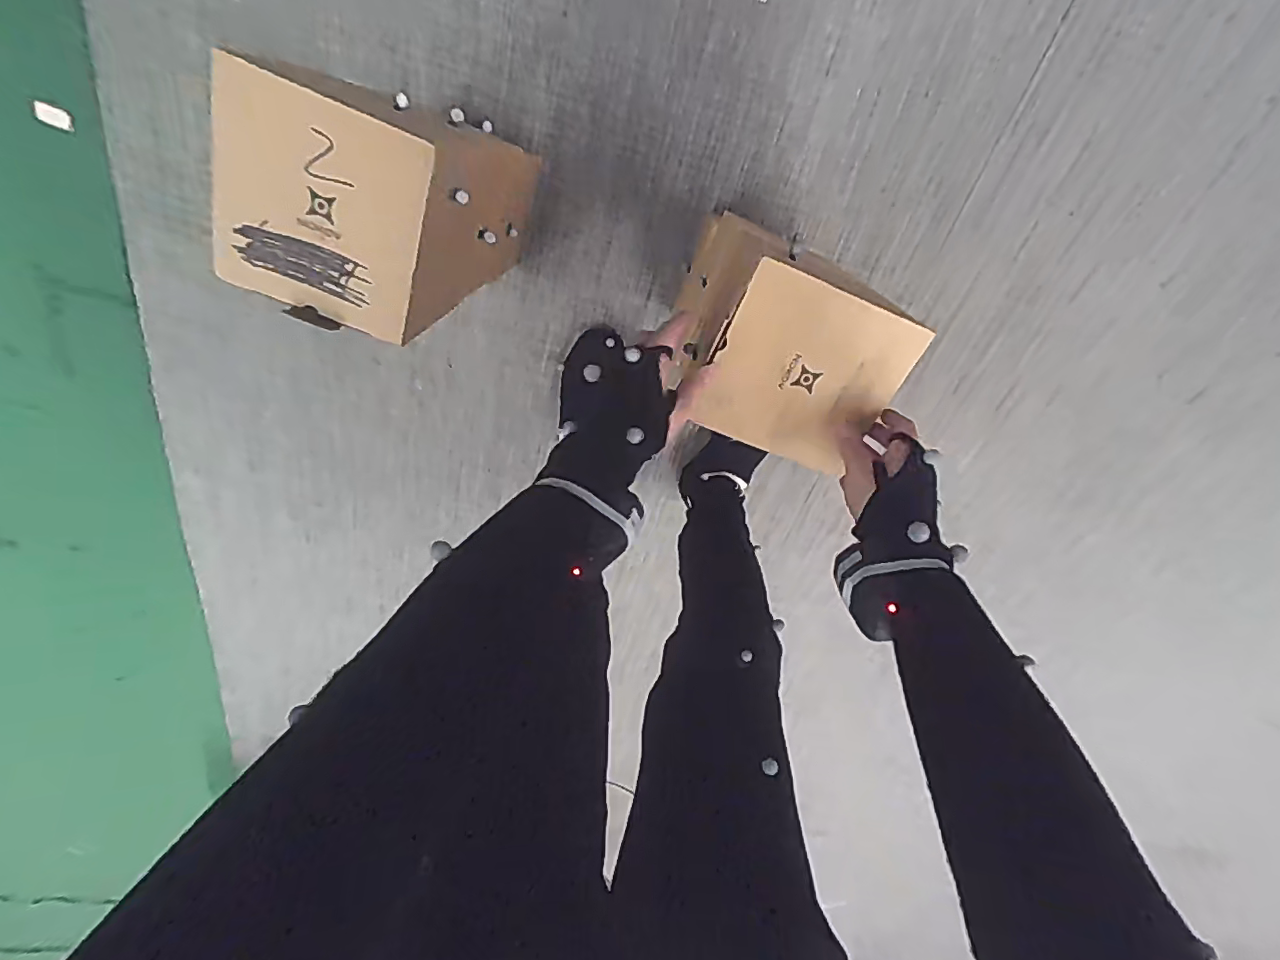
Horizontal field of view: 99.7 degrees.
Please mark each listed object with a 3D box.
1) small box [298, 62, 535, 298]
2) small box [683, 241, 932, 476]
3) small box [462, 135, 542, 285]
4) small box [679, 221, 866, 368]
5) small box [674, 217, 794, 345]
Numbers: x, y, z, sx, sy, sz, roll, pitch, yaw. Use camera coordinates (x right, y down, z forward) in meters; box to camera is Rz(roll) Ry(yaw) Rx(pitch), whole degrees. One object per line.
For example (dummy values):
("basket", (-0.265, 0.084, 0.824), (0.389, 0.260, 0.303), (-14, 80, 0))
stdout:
("small box", (-0.258, -0.358, 0.668), (0.168, 0.176, 0.179), (-31, 113, 21))
("small box", (0.156, -0.137, 0.576), (0.179, 0.176, 0.168), (21, 120, -9))
("small box", (-0.257, -0.420, 0.810), (0.168, 0.176, 0.179), (19, 119, -8))
("small box", (0.157, -0.223, 0.716), (0.168, 0.176, 0.179), (22, 119, -9))
("small box", (0.160, -0.297, 0.863), (0.168, 0.176, 0.179), (17, 120, -8))
